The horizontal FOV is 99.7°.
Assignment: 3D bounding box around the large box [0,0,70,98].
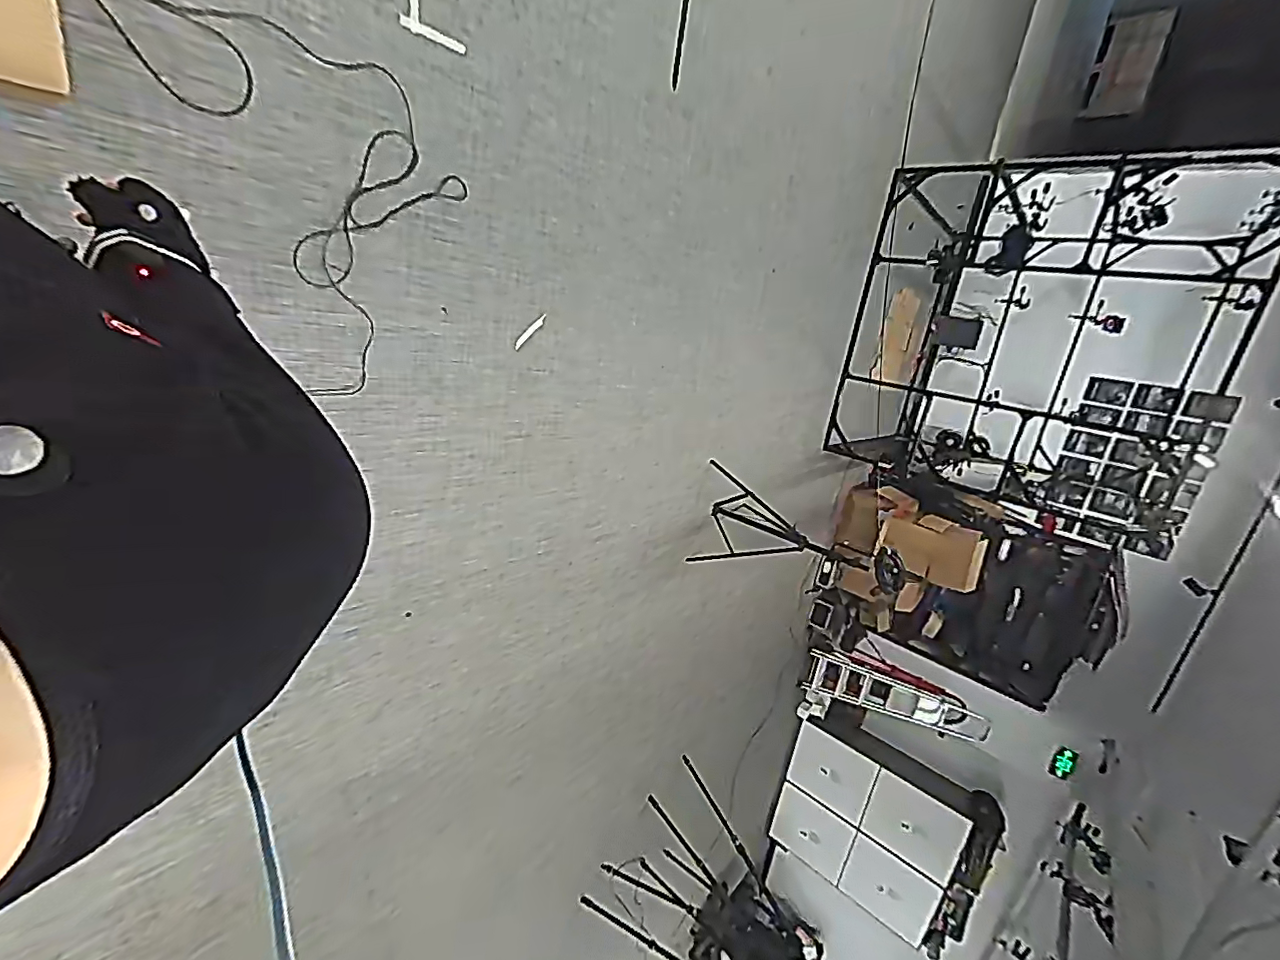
[{"bbox_3d":[-1.012,-0.704,0.637,0.408,0.320,0.320,-15,122,-49],"label":"large box"}]
